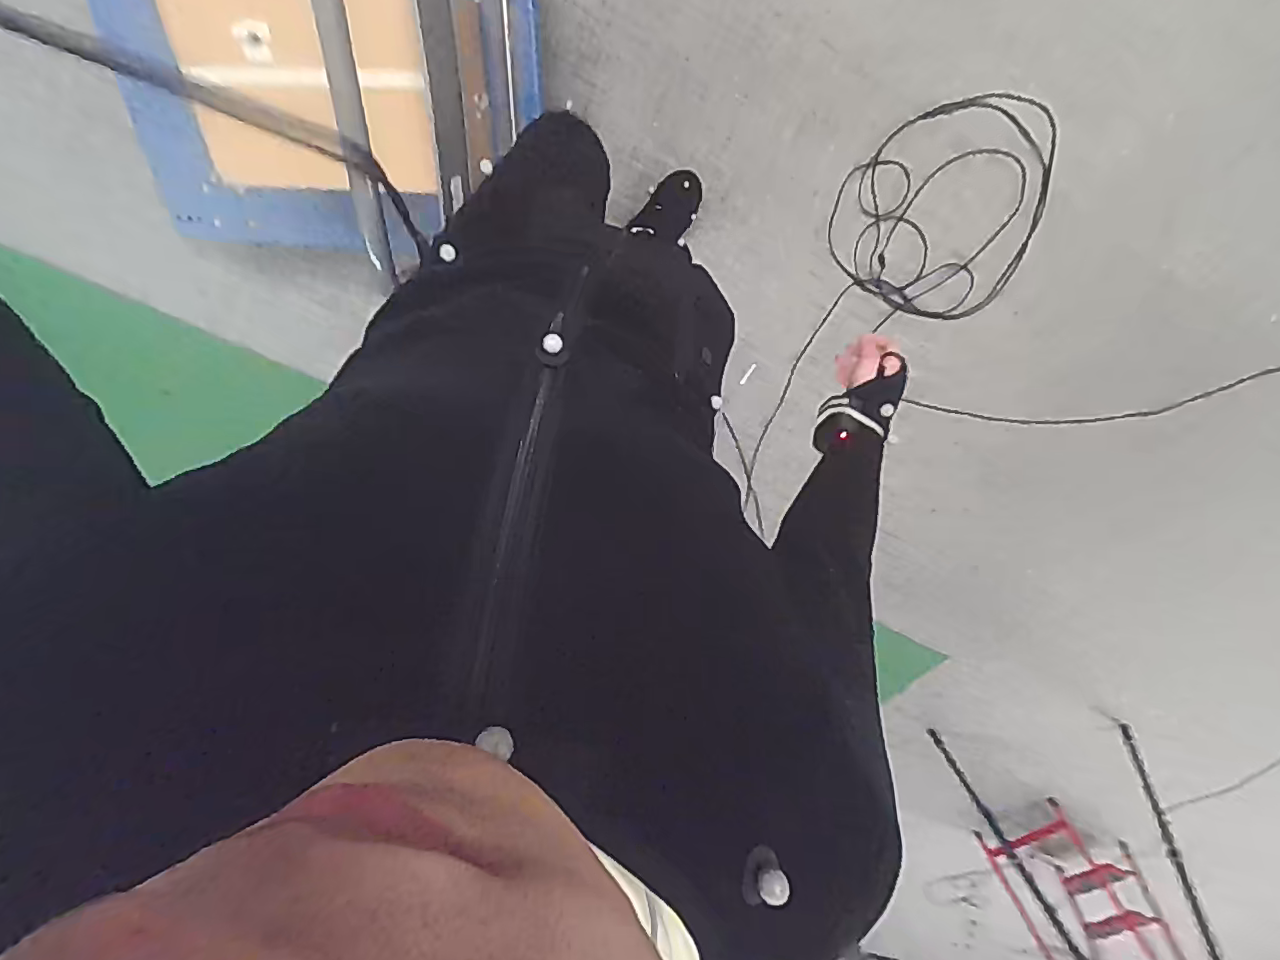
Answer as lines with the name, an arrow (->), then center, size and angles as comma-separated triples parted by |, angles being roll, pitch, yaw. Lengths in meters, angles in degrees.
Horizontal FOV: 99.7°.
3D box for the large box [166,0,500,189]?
large box -> -0.505, -0.719, 0.976 | 0.408, 0.320, 0.320 | 3, 122, 2
